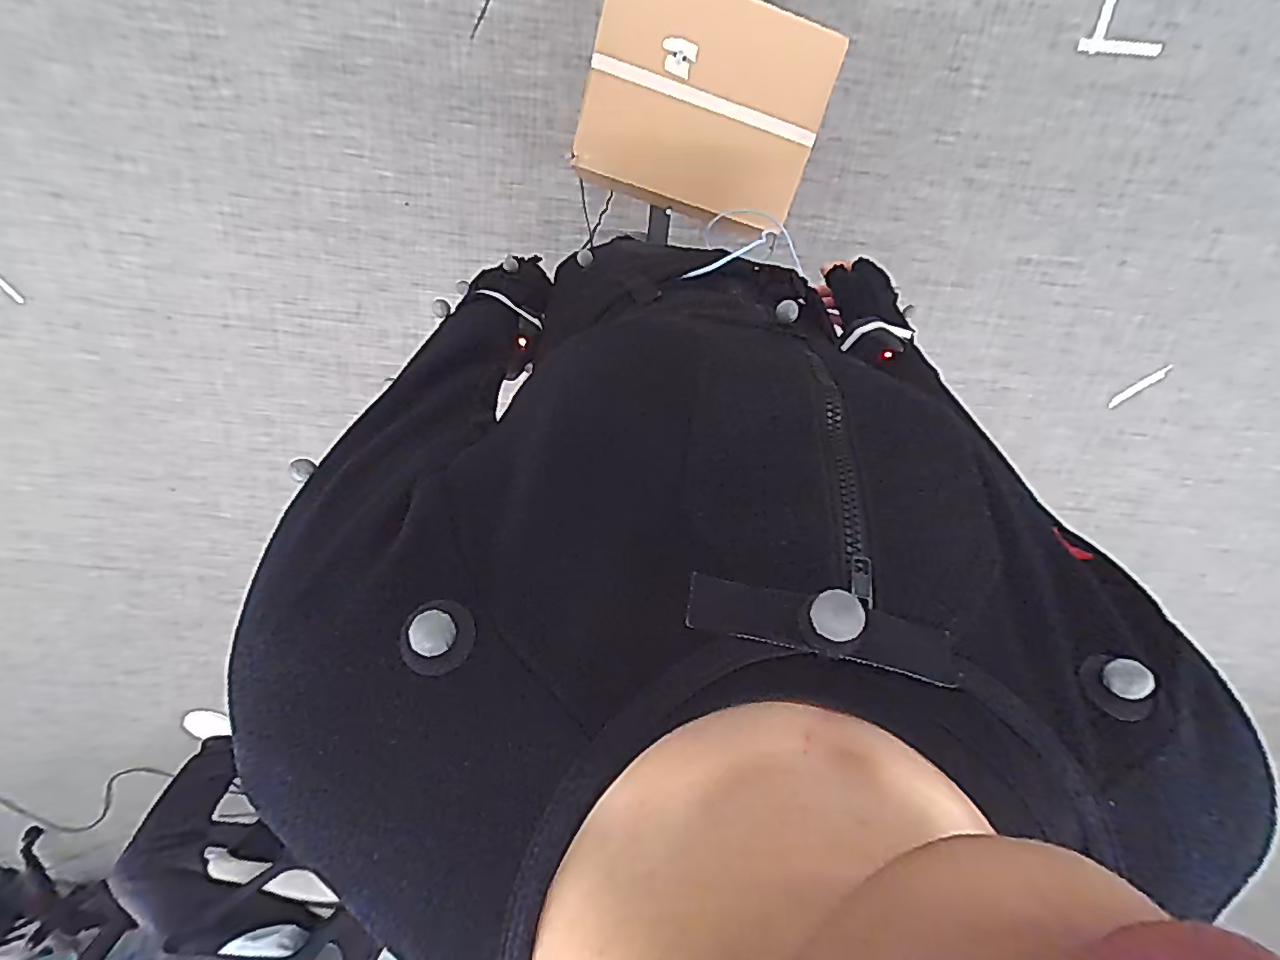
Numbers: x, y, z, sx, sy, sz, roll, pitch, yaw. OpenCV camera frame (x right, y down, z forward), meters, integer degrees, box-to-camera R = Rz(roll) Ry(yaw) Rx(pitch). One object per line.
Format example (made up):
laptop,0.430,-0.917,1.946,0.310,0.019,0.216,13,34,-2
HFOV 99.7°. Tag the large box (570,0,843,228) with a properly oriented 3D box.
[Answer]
large box,0.106,-0.714,1.063,0.408,0.320,0.320,15,112,-8
